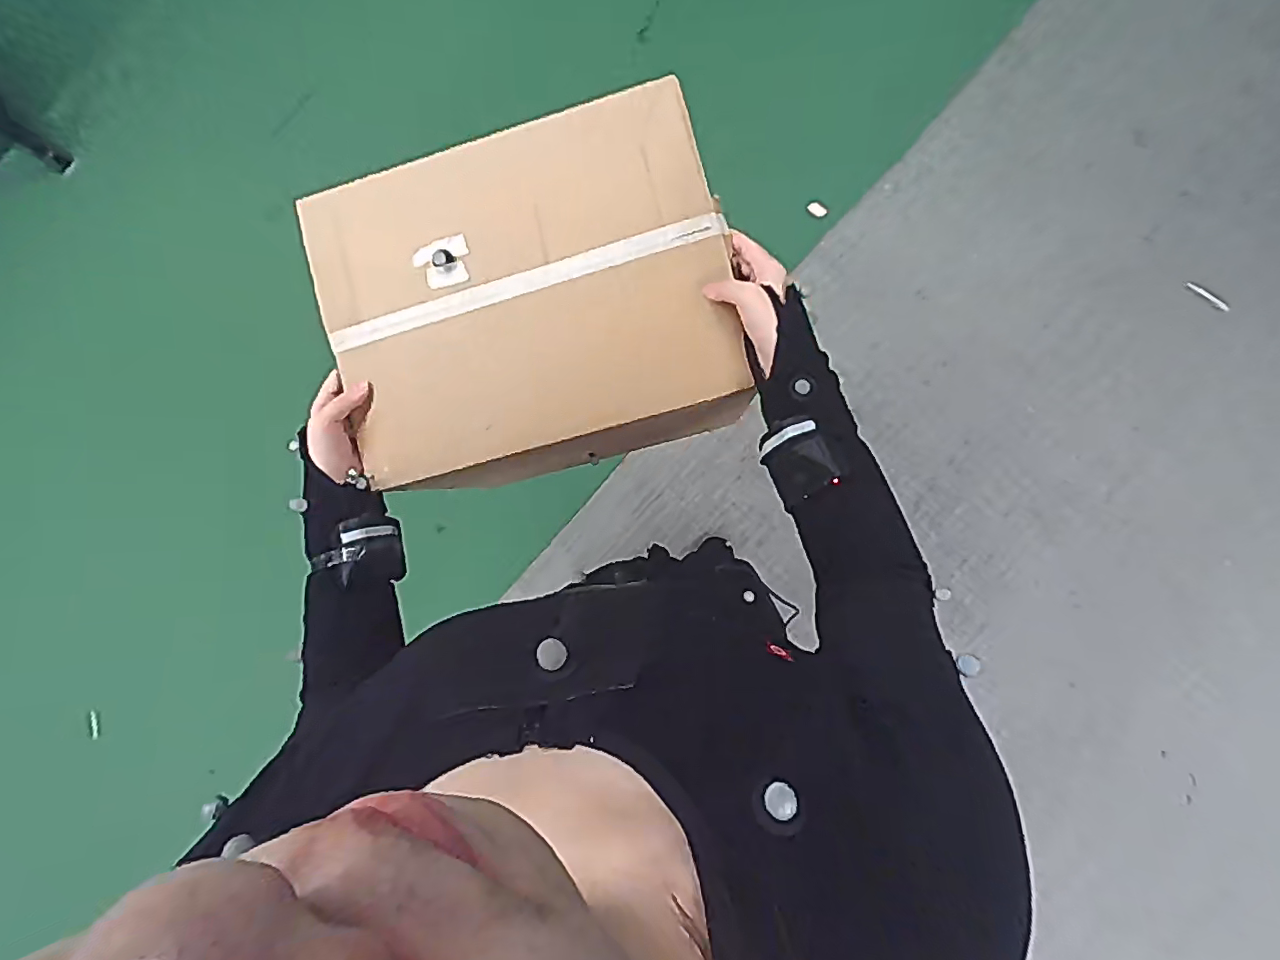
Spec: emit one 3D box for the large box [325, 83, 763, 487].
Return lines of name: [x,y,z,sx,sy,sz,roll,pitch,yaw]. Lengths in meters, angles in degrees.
large box: [-0.089,-0.193,0.694,0.408,0.320,0.320,-15,88,7]
